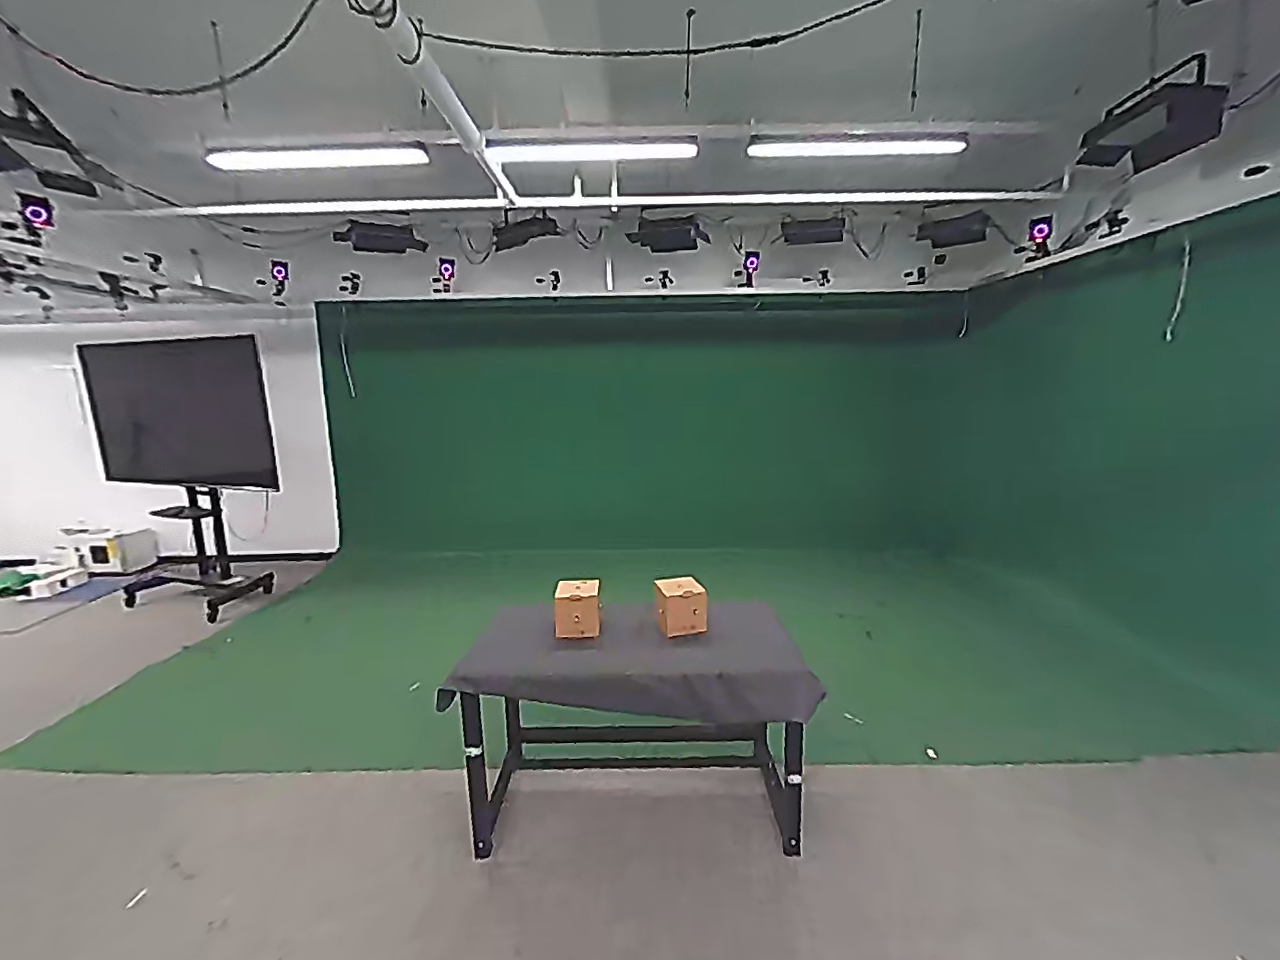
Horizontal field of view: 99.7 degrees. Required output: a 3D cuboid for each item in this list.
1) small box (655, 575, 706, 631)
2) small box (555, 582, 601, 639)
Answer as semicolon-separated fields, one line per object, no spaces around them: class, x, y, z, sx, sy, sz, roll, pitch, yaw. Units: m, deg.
small box;0.160;0.492;2.152;0.168;0.176;0.179;-1;9;-13
small box;-0.244;0.521;2.148;0.168;0.176;0.179;-3;9;-4
